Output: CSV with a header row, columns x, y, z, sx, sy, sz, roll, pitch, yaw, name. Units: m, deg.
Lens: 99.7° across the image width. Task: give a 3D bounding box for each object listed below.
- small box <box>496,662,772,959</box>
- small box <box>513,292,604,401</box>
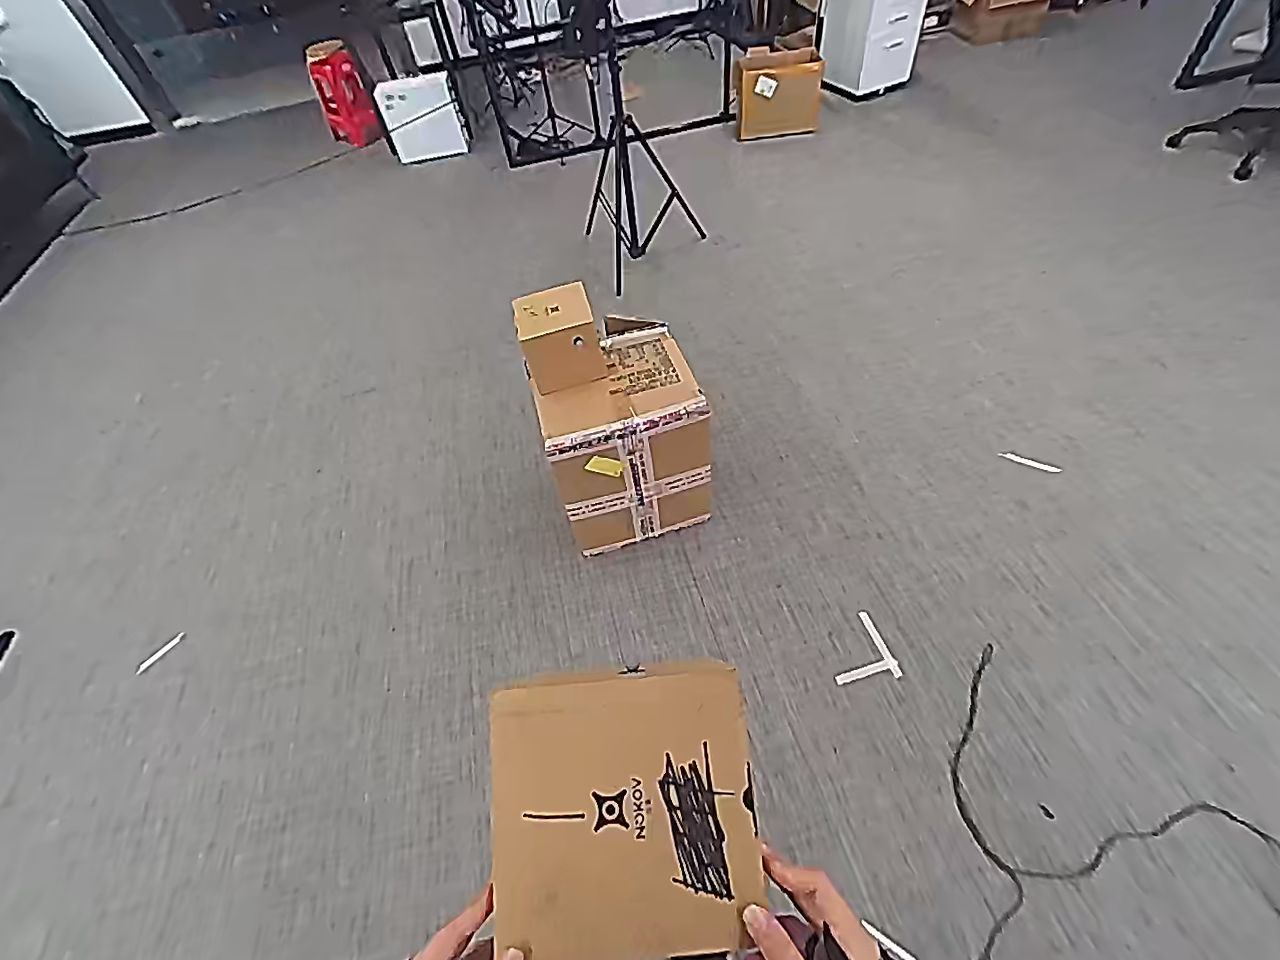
x,y,z,sx,sy,sz,roll,pitch,yaw,name
-0.007,0.243,0.438,0.179,0.176,0.168,-6,73,0,small box
-0.192,-0.320,1.312,0.179,0.176,0.168,-16,52,-2,small box
